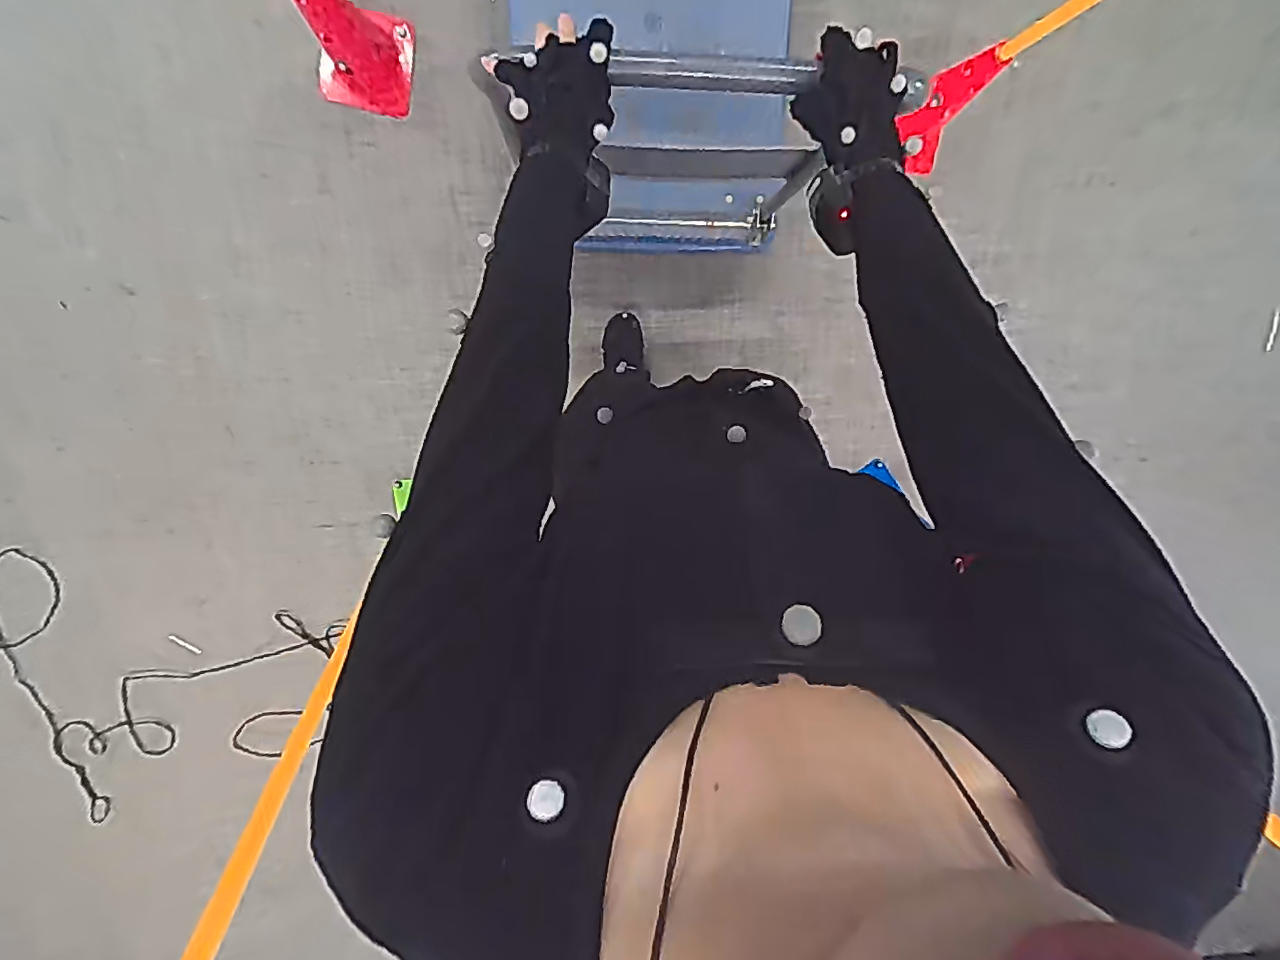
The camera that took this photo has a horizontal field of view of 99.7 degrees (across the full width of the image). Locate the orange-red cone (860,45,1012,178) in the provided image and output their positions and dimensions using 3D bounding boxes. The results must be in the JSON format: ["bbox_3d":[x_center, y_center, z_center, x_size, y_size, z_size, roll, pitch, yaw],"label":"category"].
[{"bbox_3d":[0.672,-0.833,1.183,0.198,0.360,0.199,9,103,-6],"label":"orange-red cone"}]
